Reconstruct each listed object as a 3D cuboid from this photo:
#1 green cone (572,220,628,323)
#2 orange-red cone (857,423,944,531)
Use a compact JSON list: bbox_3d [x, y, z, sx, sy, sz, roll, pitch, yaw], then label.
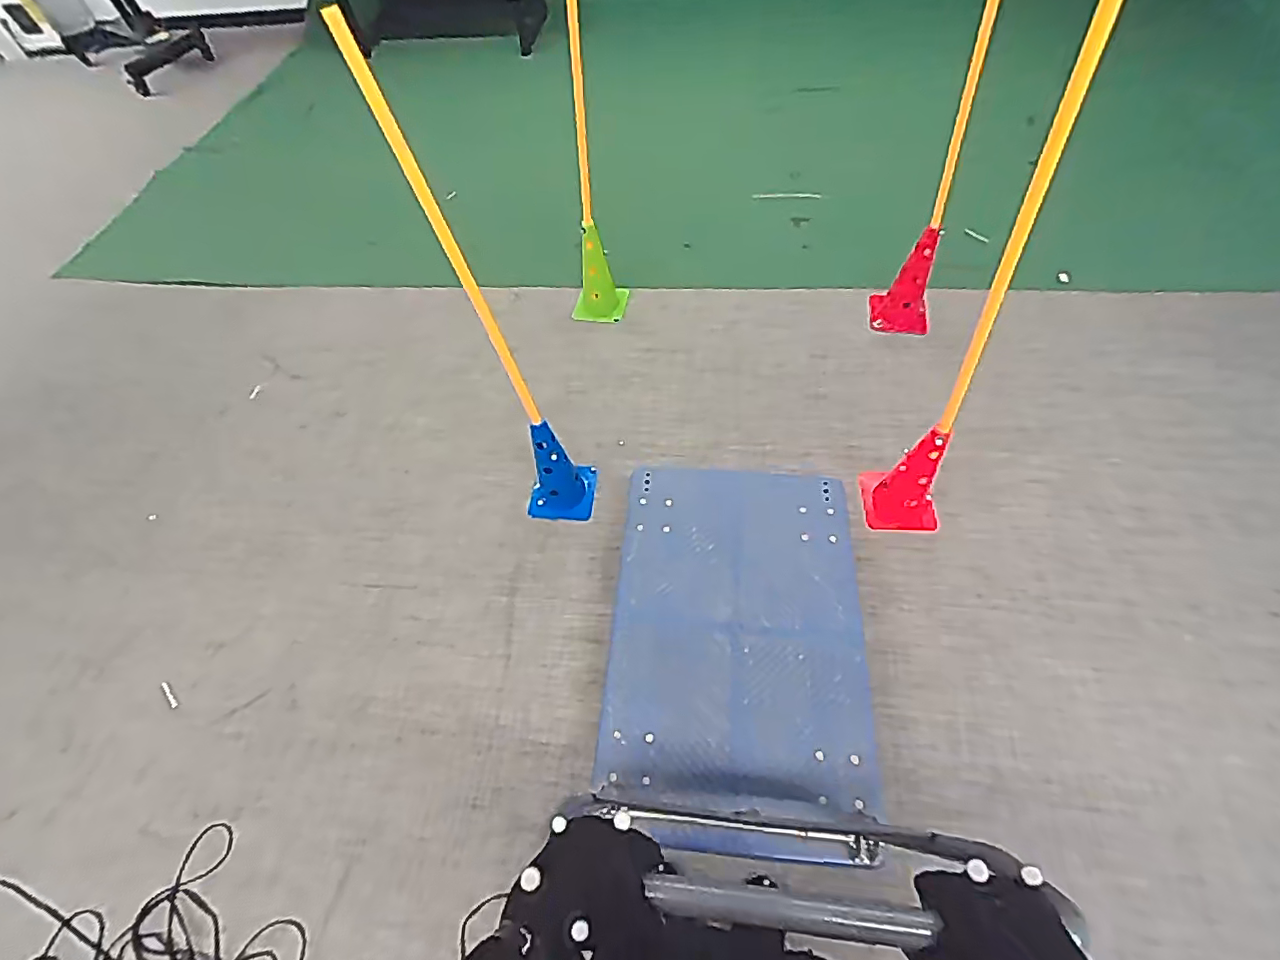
[{"bbox_3d":[-0.174,-0.798,2.032,0.202,0.368,0.200,6,58,9],"label":"green cone"},{"bbox_3d":[0.743,-0.030,1.475,0.199,0.360,0.198,1,57,8],"label":"orange-red cone"}]
